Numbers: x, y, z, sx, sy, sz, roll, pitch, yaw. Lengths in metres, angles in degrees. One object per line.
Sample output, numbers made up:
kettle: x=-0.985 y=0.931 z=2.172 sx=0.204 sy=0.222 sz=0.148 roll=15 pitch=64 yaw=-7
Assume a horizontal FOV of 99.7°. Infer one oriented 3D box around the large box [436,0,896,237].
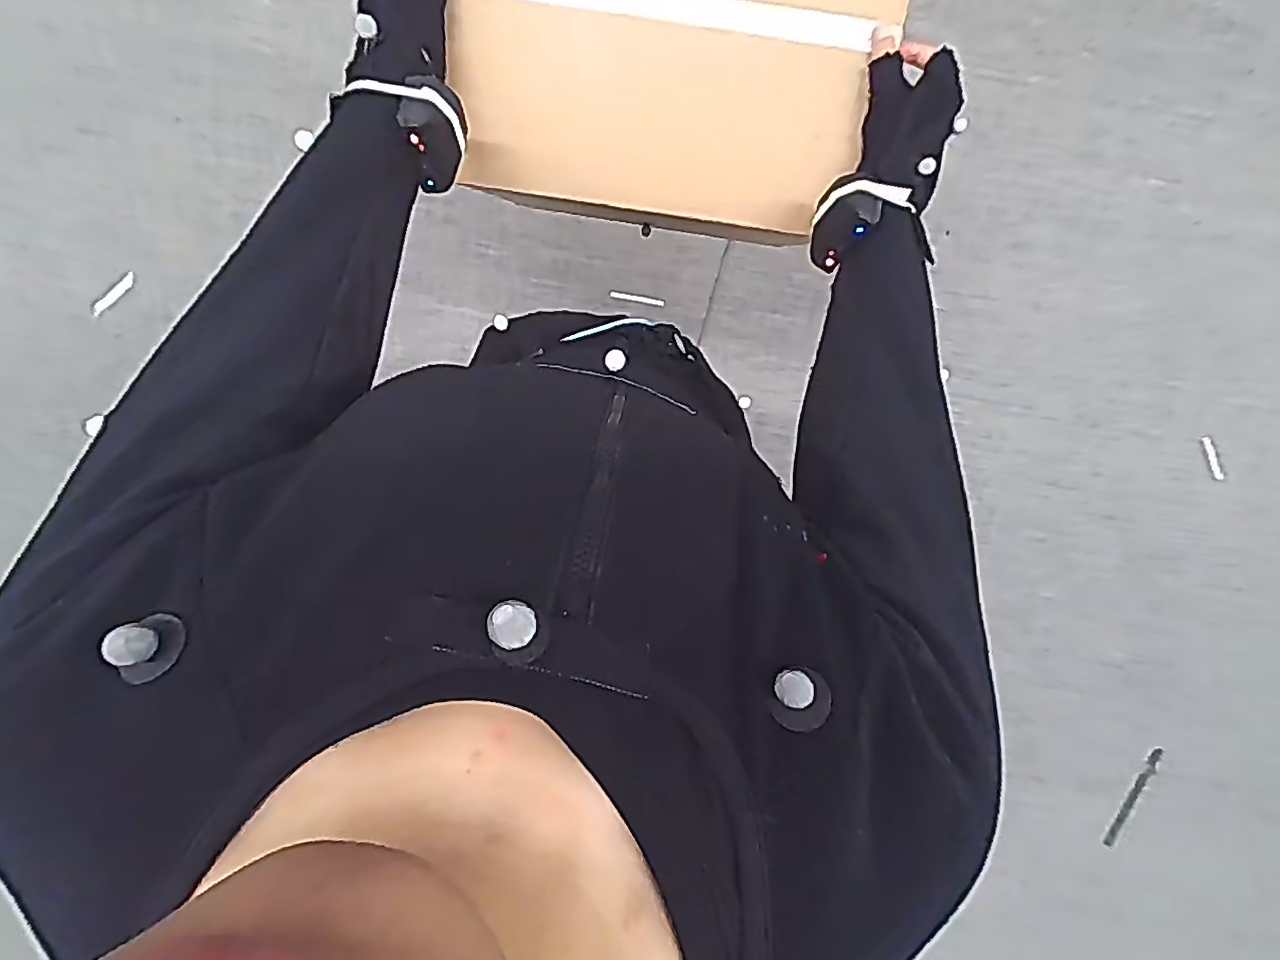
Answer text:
large box: x=0.029 y=-0.467 z=0.608 sx=0.408 sy=0.320 sz=0.320 roll=9 pitch=112 yaw=0
